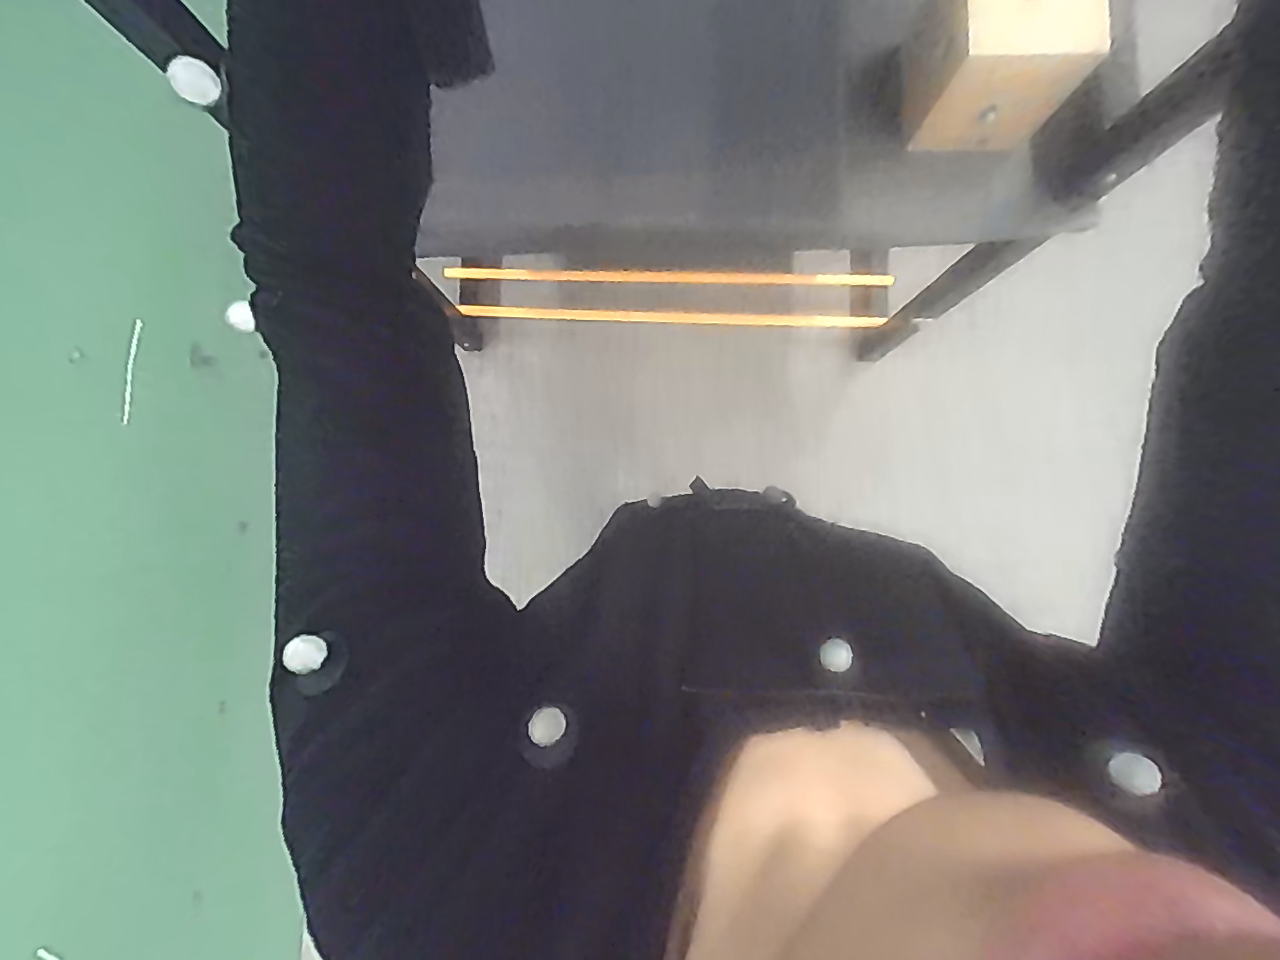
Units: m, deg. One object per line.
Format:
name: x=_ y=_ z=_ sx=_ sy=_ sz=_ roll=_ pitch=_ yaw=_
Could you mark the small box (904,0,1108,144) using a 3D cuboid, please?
small box: x=0.472 y=-0.582 z=0.724 sx=0.168 sy=0.176 sz=0.179 roll=0 pitch=85 yaw=2
